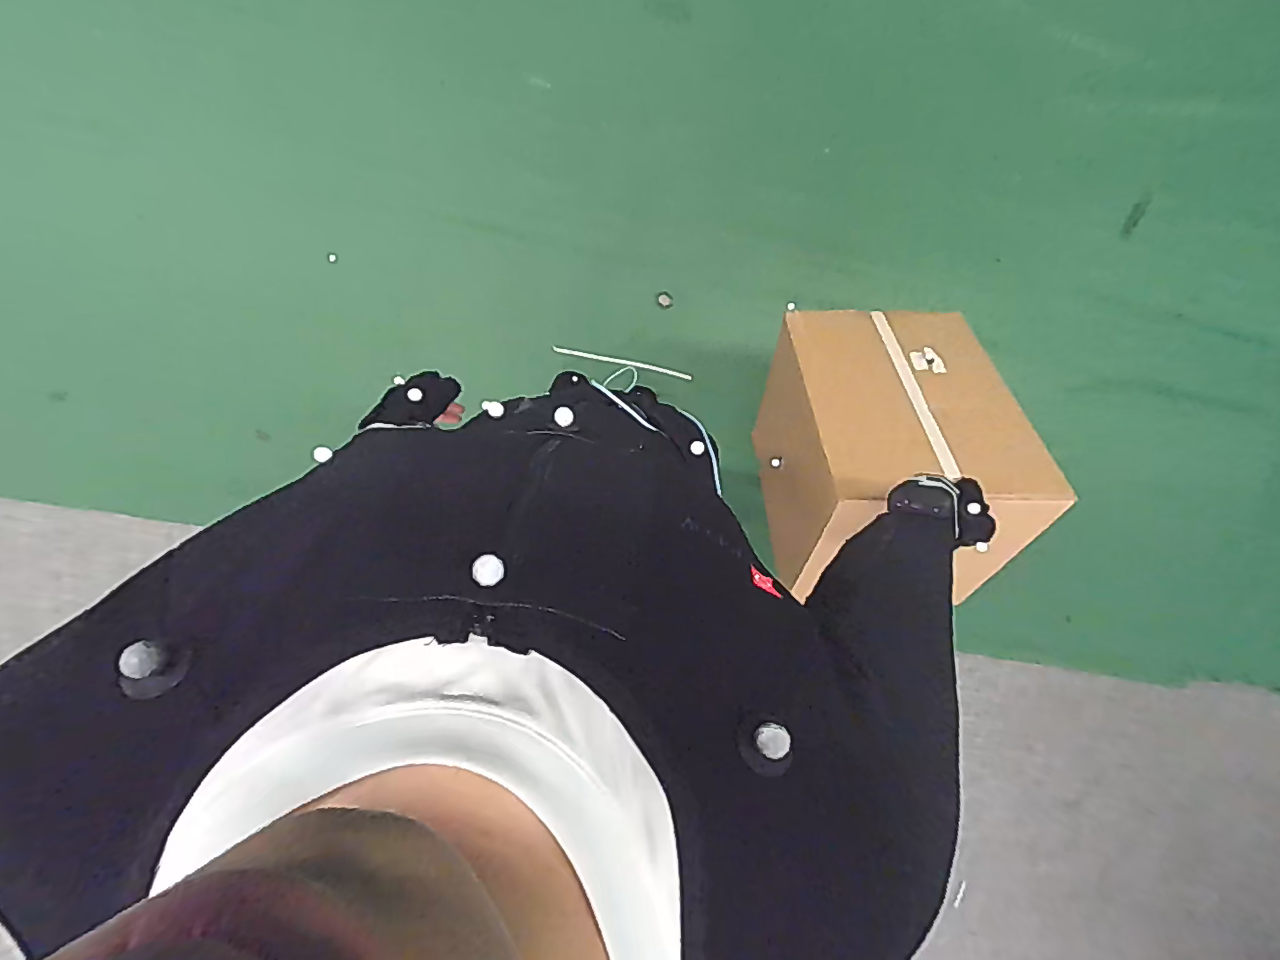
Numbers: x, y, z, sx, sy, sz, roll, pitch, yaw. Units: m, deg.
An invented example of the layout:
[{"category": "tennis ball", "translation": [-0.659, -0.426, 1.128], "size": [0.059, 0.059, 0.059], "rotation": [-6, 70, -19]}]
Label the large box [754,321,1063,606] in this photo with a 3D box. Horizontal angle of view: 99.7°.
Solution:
[{"category": "large box", "translation": [0.404, -0.028, 0.949], "size": [0.320, 0.408, 0.320], "rotation": [1, 141, -2]}]
